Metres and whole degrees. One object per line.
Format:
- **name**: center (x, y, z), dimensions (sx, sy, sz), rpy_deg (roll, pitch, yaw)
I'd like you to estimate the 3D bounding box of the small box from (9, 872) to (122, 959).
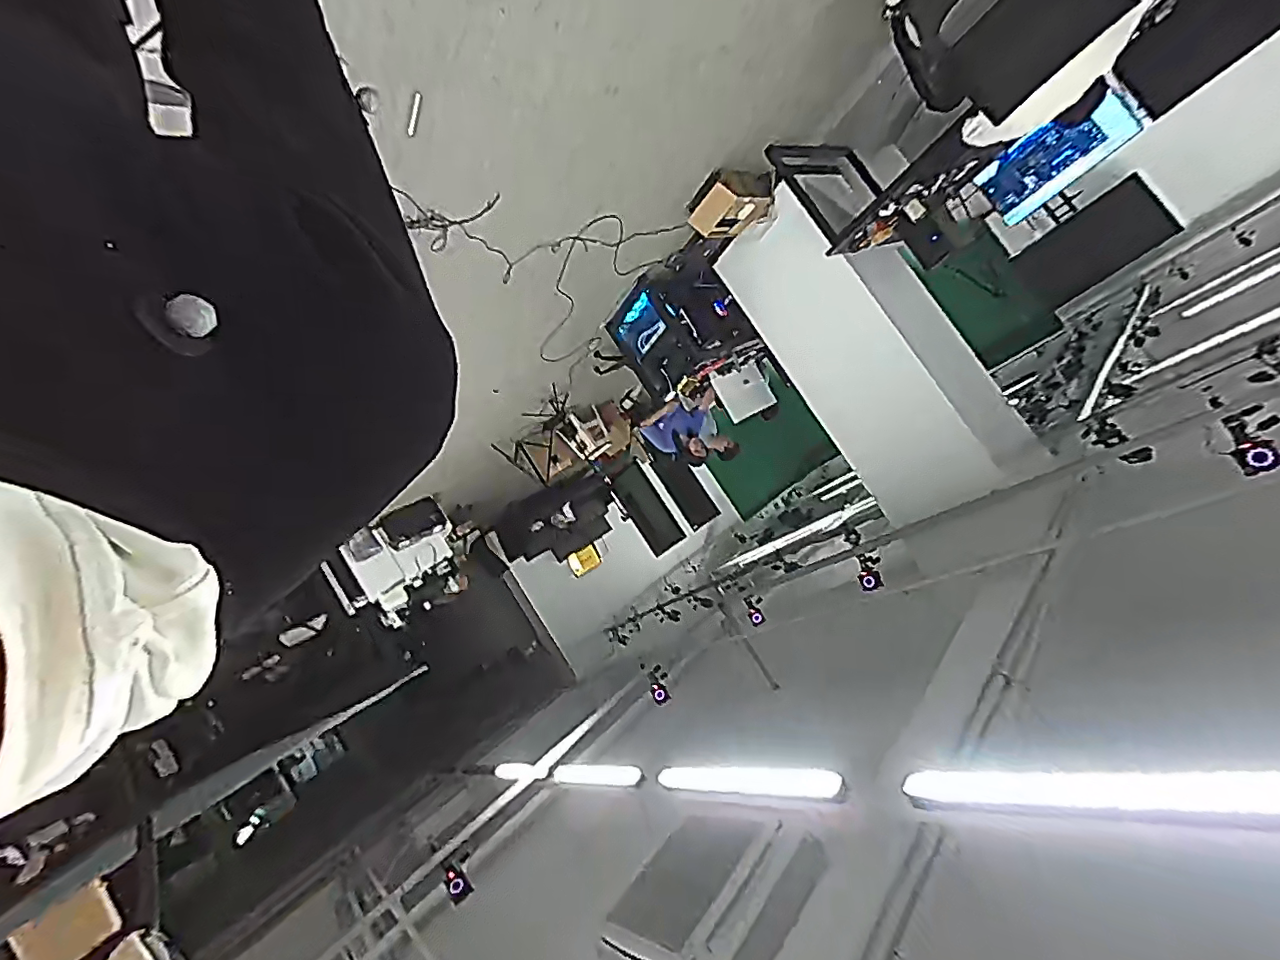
- **small box**: center (-1.604, 1.239, 1.514), dimensions (0.168, 0.176, 0.179), rpy_deg (-29, 172, -46)
